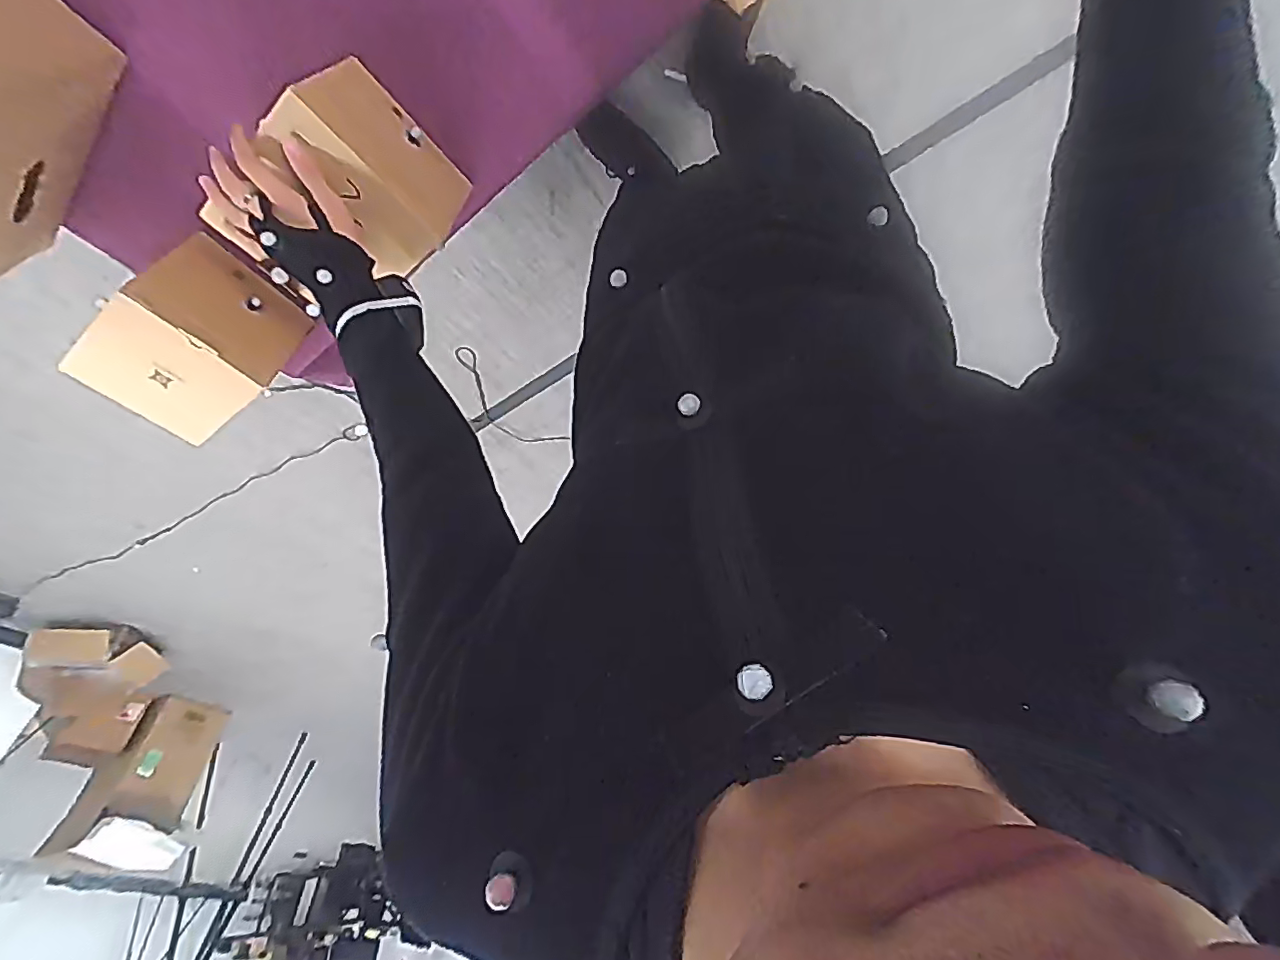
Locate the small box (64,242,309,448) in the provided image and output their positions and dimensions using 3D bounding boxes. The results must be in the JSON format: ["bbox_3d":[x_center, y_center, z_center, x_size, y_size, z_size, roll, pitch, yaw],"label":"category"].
[{"bbox_3d":[-0.593,-0.181,0.732,0.179,0.176,0.168,-28,130,23],"label":"small box"}]
